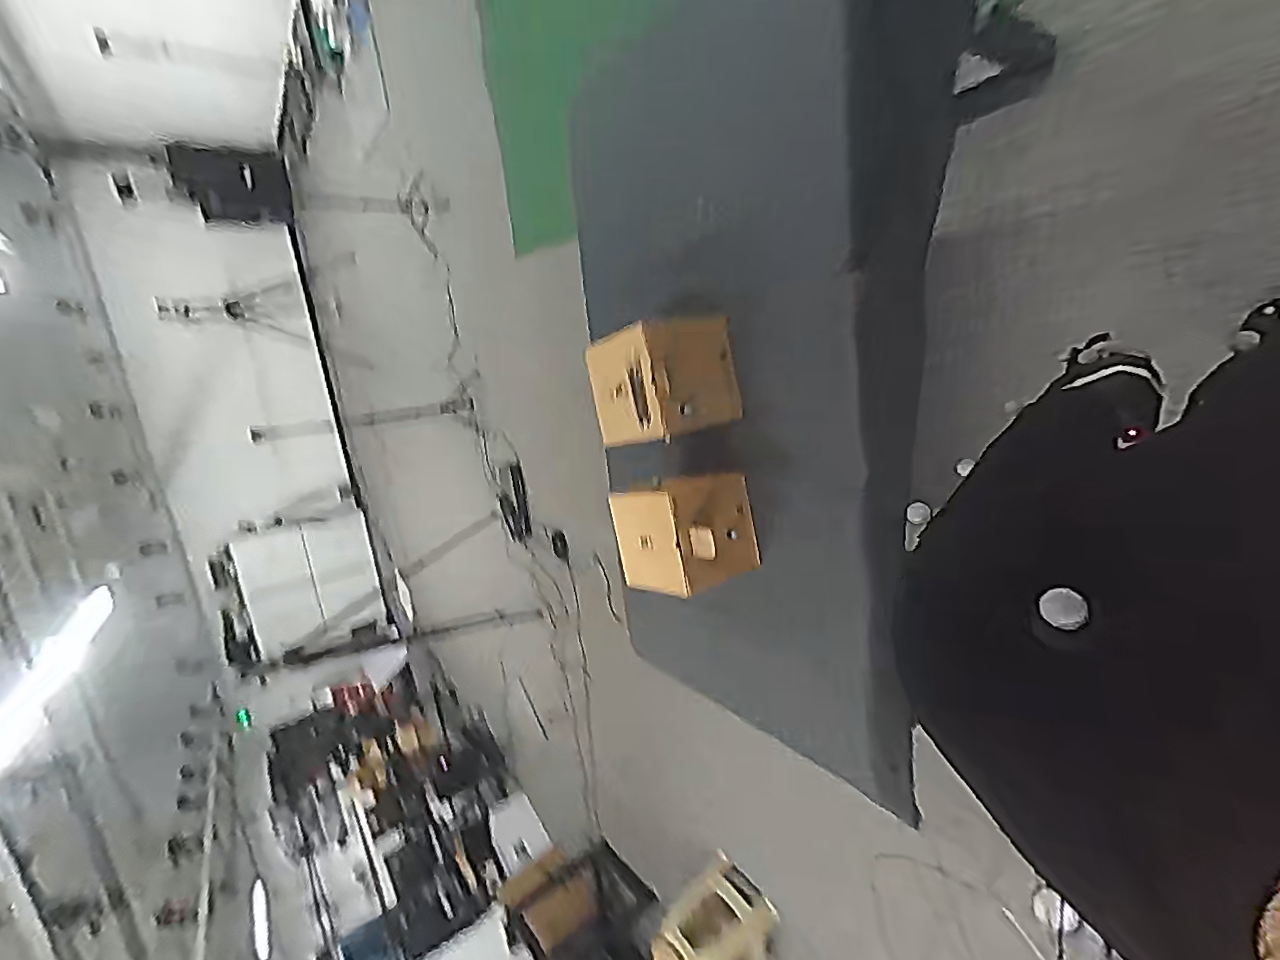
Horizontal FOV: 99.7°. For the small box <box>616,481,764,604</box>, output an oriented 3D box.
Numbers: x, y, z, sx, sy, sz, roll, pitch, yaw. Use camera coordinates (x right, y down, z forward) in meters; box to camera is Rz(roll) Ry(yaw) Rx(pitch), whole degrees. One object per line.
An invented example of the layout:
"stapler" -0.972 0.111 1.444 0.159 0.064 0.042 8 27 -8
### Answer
"small box" 0.086 0.100 0.938 0.179 0.176 0.168 -6 98 55
